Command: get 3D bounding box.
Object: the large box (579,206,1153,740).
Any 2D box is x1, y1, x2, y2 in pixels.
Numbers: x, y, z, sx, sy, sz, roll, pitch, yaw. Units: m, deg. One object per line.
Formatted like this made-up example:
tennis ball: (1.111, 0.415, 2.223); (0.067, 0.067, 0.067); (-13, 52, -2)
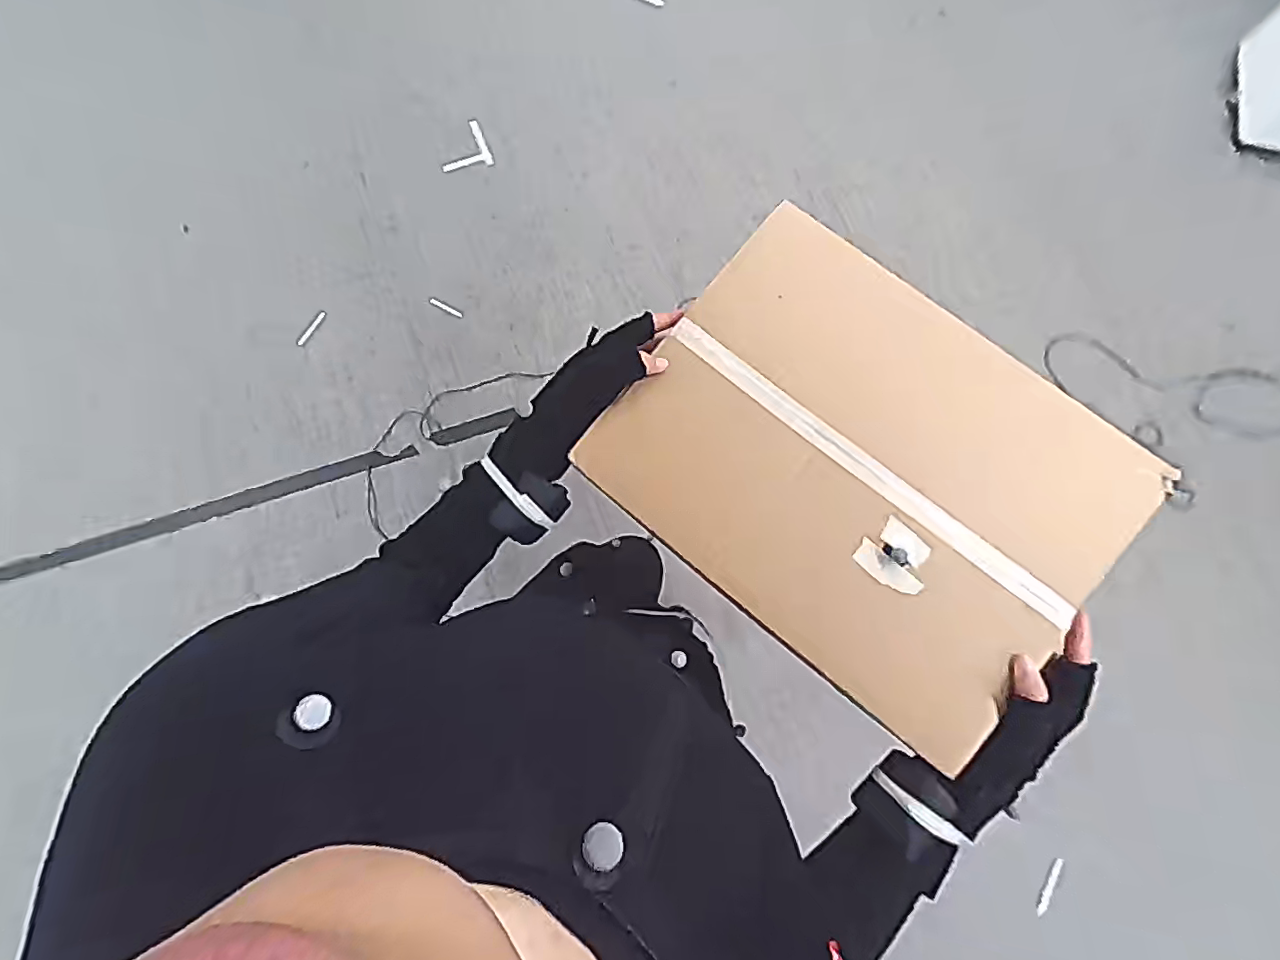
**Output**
large box: (0.196, -0.005, 0.620); (0.408, 0.320, 0.320); (39, 87, 7)
